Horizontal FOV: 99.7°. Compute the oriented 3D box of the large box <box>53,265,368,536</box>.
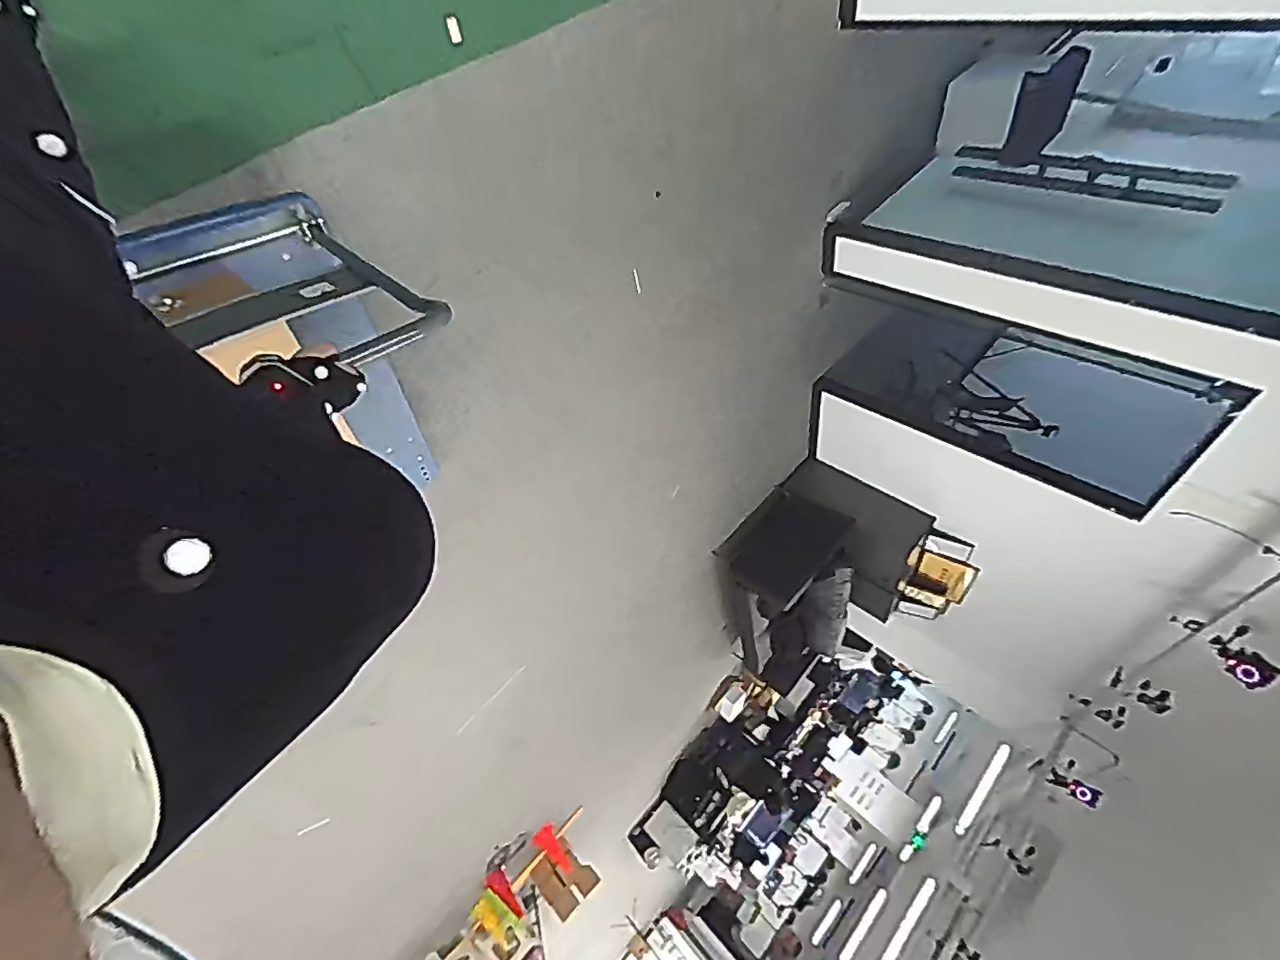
[{"bbox_3d":[-0.865,-0.168,1.132,0.320,0.320,0.408,-37,144,-27],"label":"large box"}]
